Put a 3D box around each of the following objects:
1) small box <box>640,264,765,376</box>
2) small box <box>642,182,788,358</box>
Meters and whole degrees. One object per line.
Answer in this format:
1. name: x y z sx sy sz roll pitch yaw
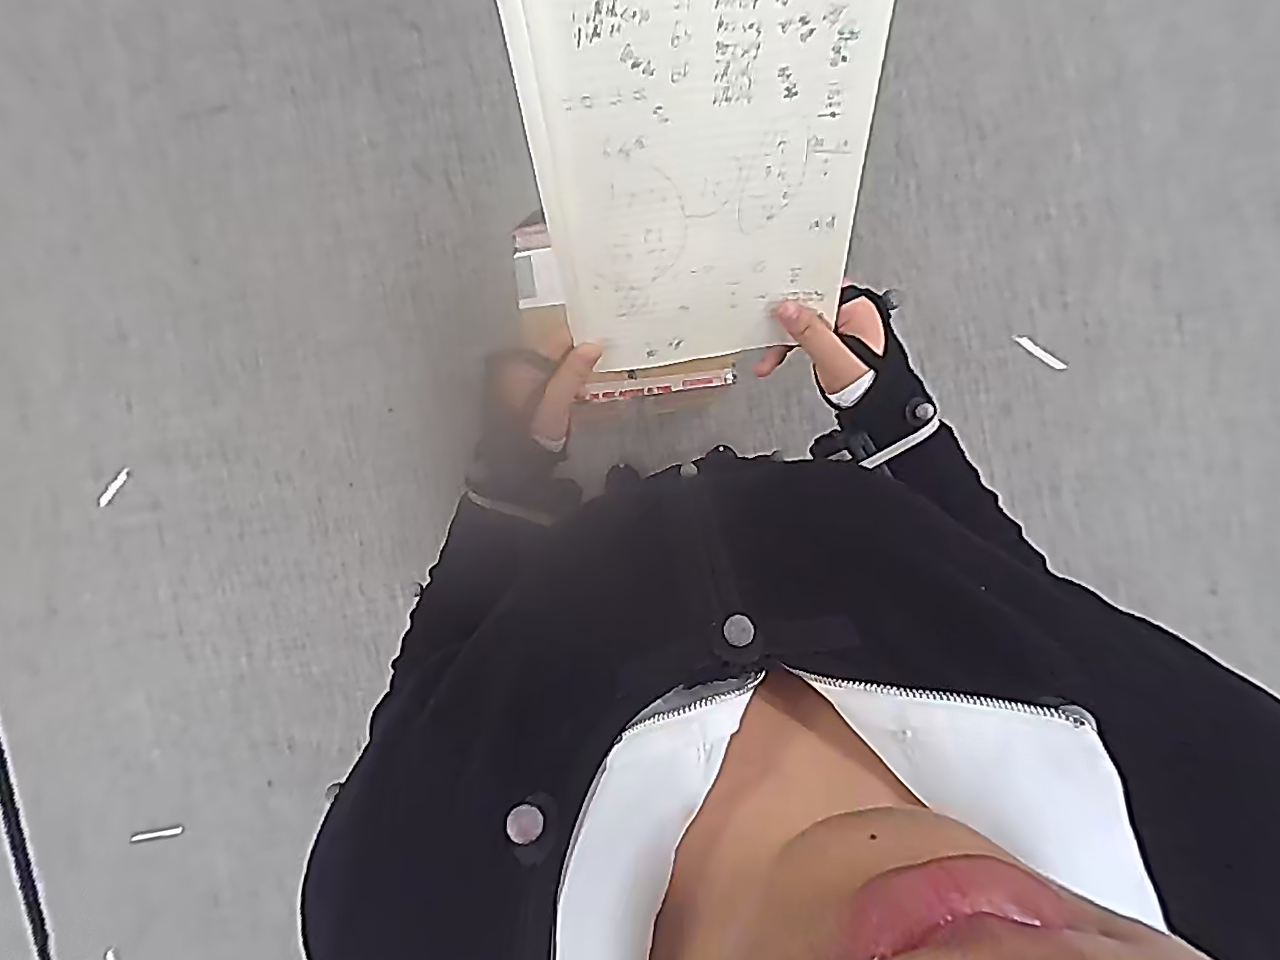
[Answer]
1. small box: 0.099 -0.287 0.939 0.179 0.176 0.168 -13 93 1
2. small box: 0.097 -0.288 0.775 0.168 0.176 0.179 -10 93 0
